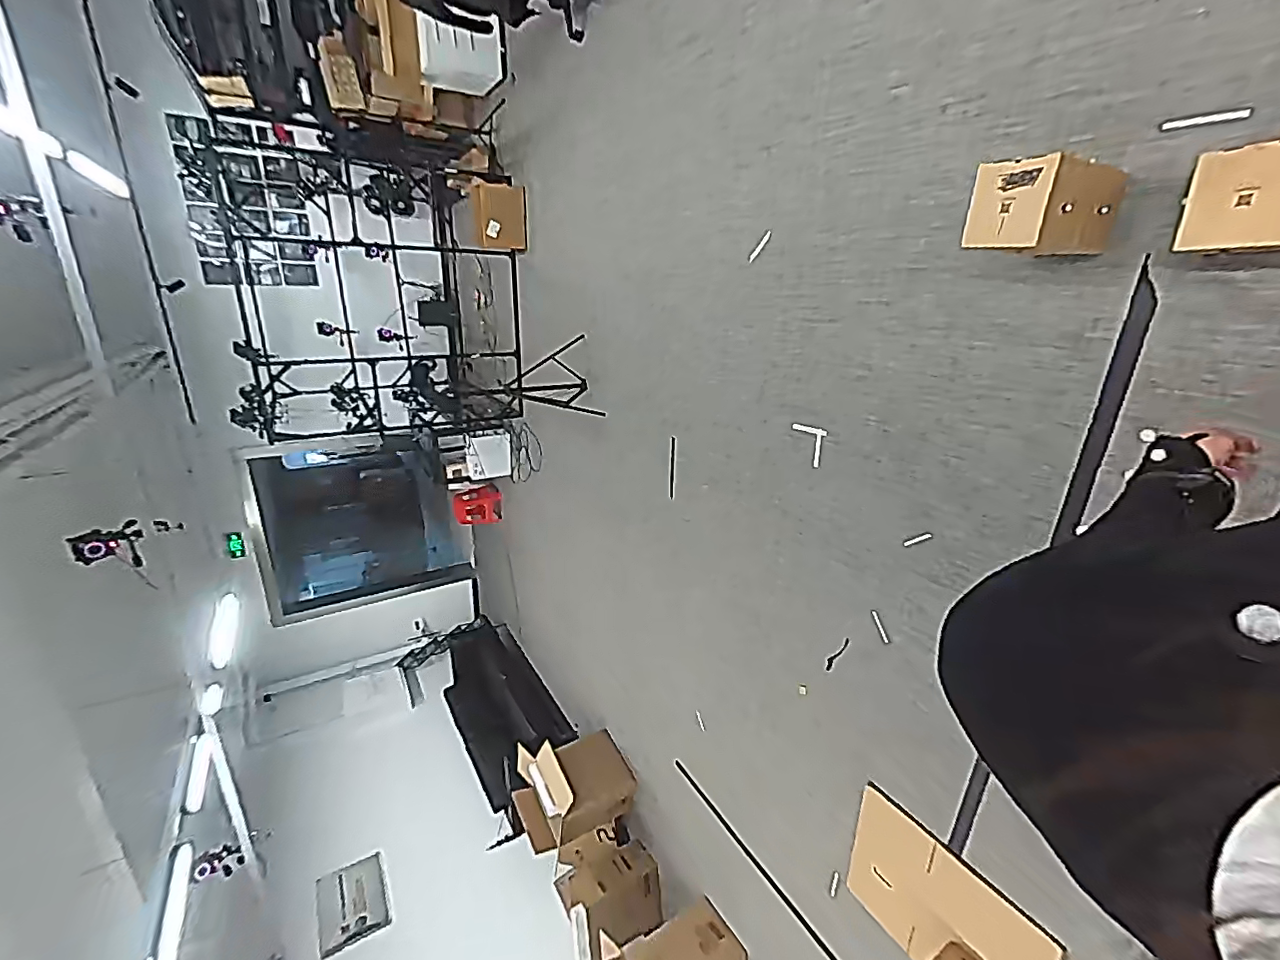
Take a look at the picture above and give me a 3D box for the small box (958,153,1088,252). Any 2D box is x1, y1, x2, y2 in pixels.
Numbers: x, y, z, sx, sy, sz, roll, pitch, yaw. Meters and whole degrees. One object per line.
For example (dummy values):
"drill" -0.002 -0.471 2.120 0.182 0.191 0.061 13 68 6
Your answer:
"small box" 0.859 -0.613 1.212 0.168 0.176 0.179 33 127 52

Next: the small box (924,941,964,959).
"small box" 1.069 1.773 1.871 0.168 0.176 0.179 27 121 52

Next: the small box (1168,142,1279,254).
"small box" 1.174 -0.531 1.035 0.168 0.176 0.179 27 121 54
